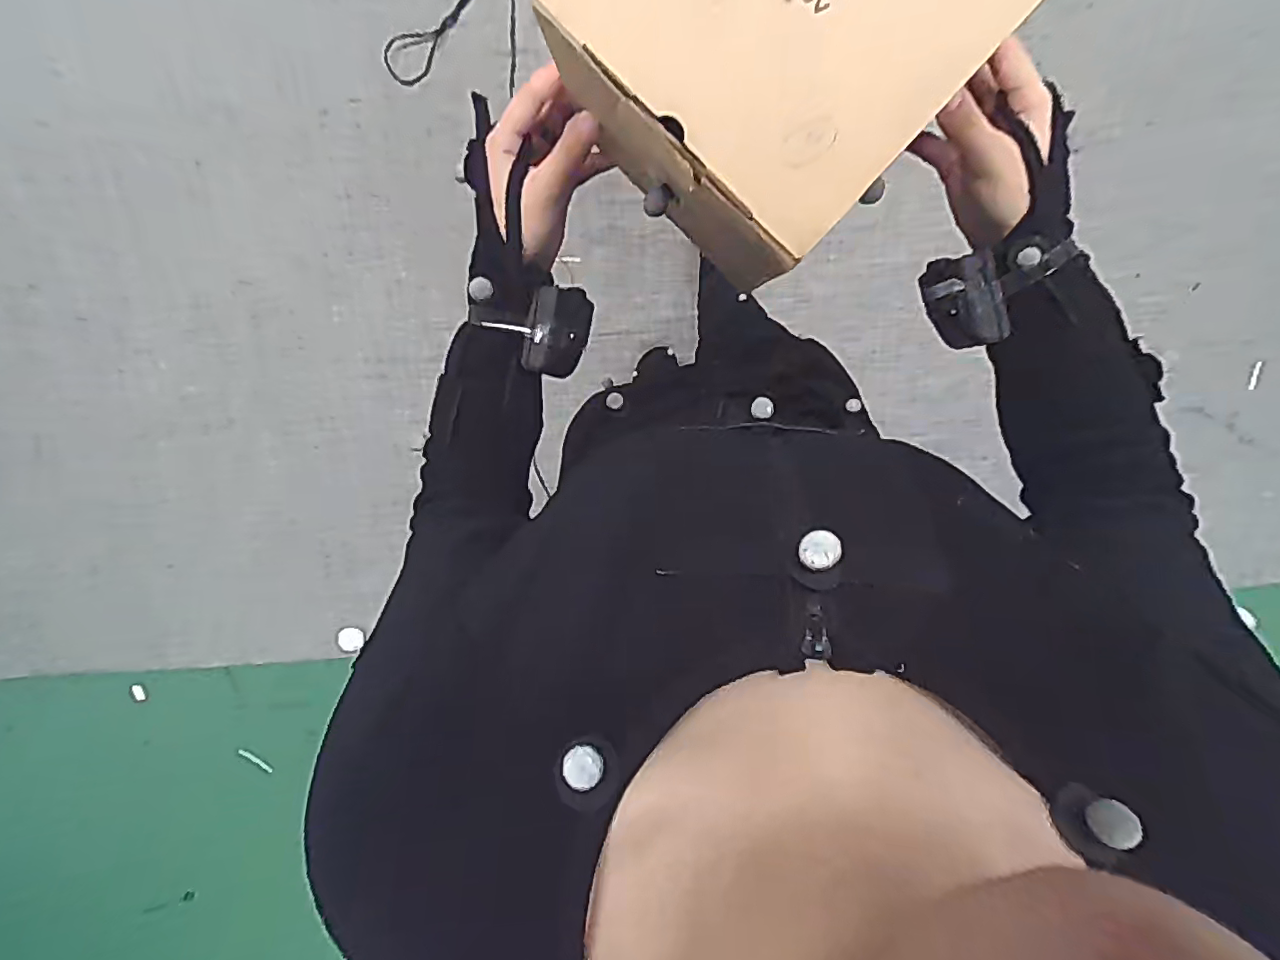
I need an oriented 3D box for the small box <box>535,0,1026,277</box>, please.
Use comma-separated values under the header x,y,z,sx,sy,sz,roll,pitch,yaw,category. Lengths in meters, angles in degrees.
x,y,z,sx,sy,sz,roll,pitch,yaw,category
0.074,-0.241,0.308,0.168,0.176,0.179,42,103,-7,small box
